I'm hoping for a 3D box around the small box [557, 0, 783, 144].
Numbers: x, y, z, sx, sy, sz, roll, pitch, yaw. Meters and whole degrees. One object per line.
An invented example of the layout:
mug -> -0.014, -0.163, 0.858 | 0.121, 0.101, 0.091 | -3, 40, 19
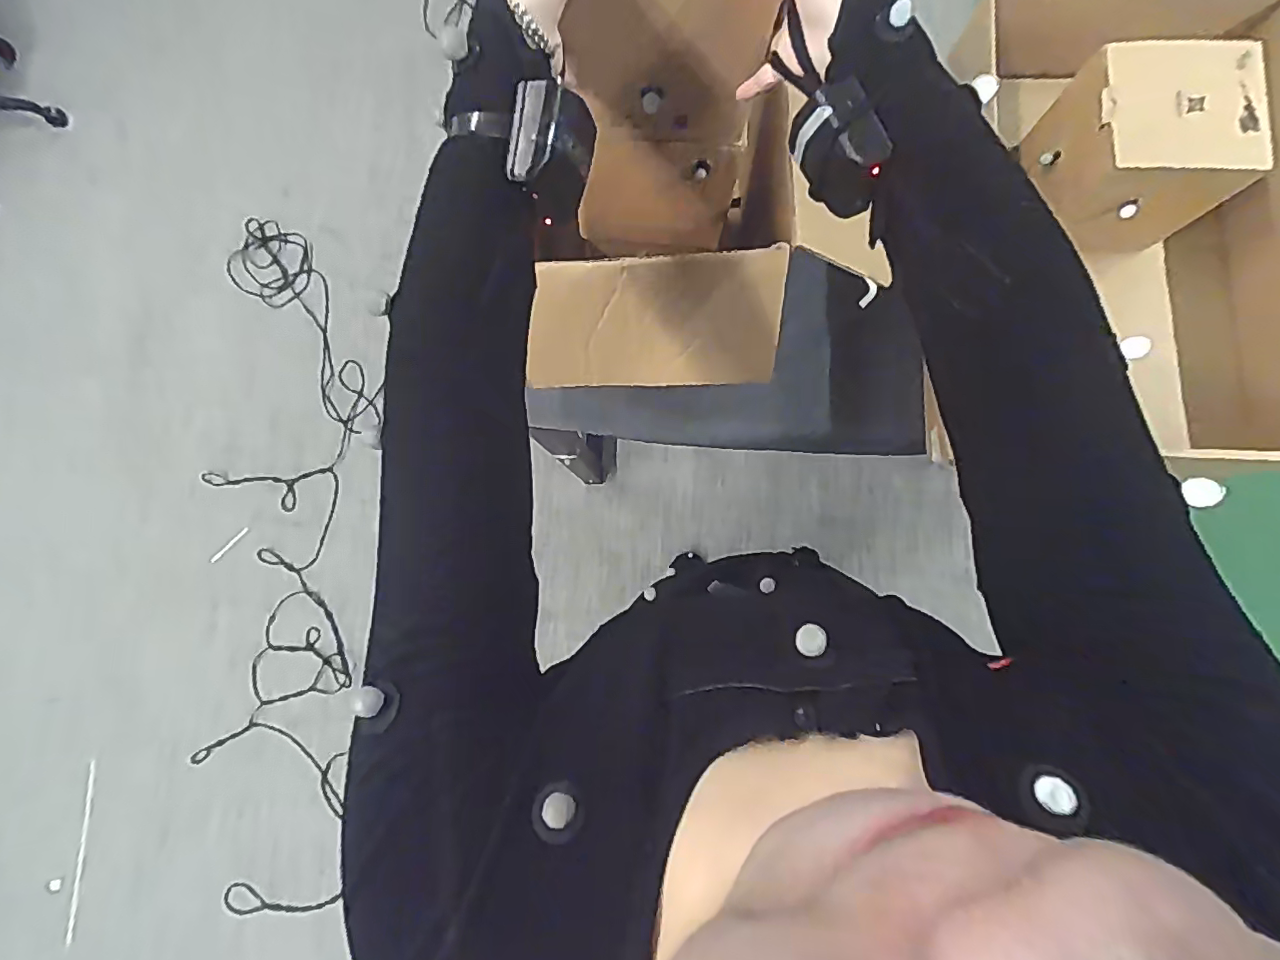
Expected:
small box -> 0.019, -0.416, 0.439 | 0.168, 0.176, 0.179 | 0, 81, -1
